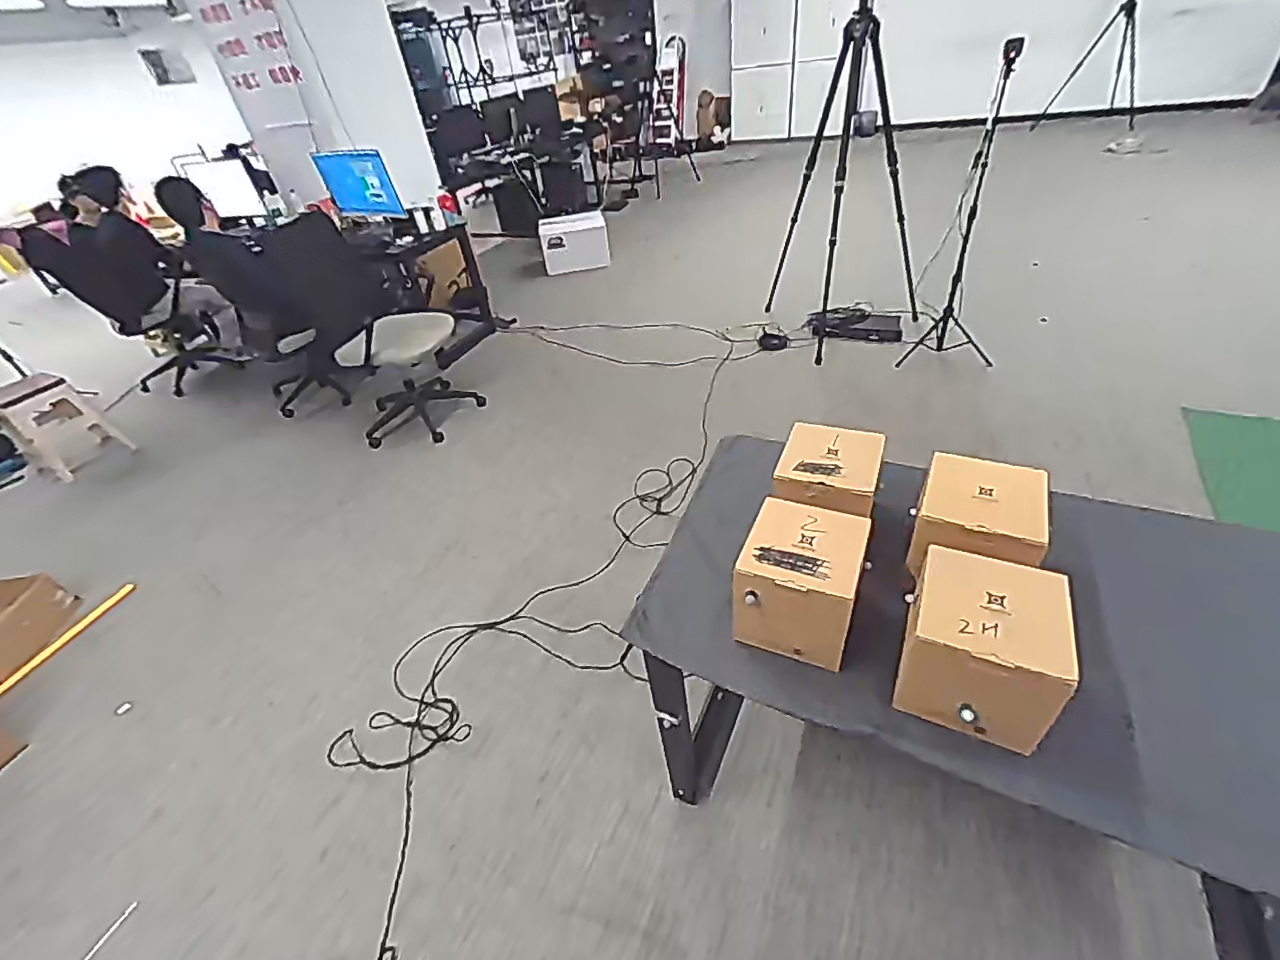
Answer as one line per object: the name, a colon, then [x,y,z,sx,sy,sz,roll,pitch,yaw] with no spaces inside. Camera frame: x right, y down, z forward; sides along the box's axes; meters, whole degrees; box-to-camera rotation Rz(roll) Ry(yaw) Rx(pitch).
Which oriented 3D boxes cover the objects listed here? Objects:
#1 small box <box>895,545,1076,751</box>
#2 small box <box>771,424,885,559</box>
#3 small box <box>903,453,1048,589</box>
small box: [0.458,0.223,0.736,0.168,0.176,0.179,13,42,25]
small box: [0.348,0.020,1.010,0.168,0.176,0.179,12,43,23]
small box: [0.549,0.085,0.895,0.168,0.176,0.179,14,45,25]
